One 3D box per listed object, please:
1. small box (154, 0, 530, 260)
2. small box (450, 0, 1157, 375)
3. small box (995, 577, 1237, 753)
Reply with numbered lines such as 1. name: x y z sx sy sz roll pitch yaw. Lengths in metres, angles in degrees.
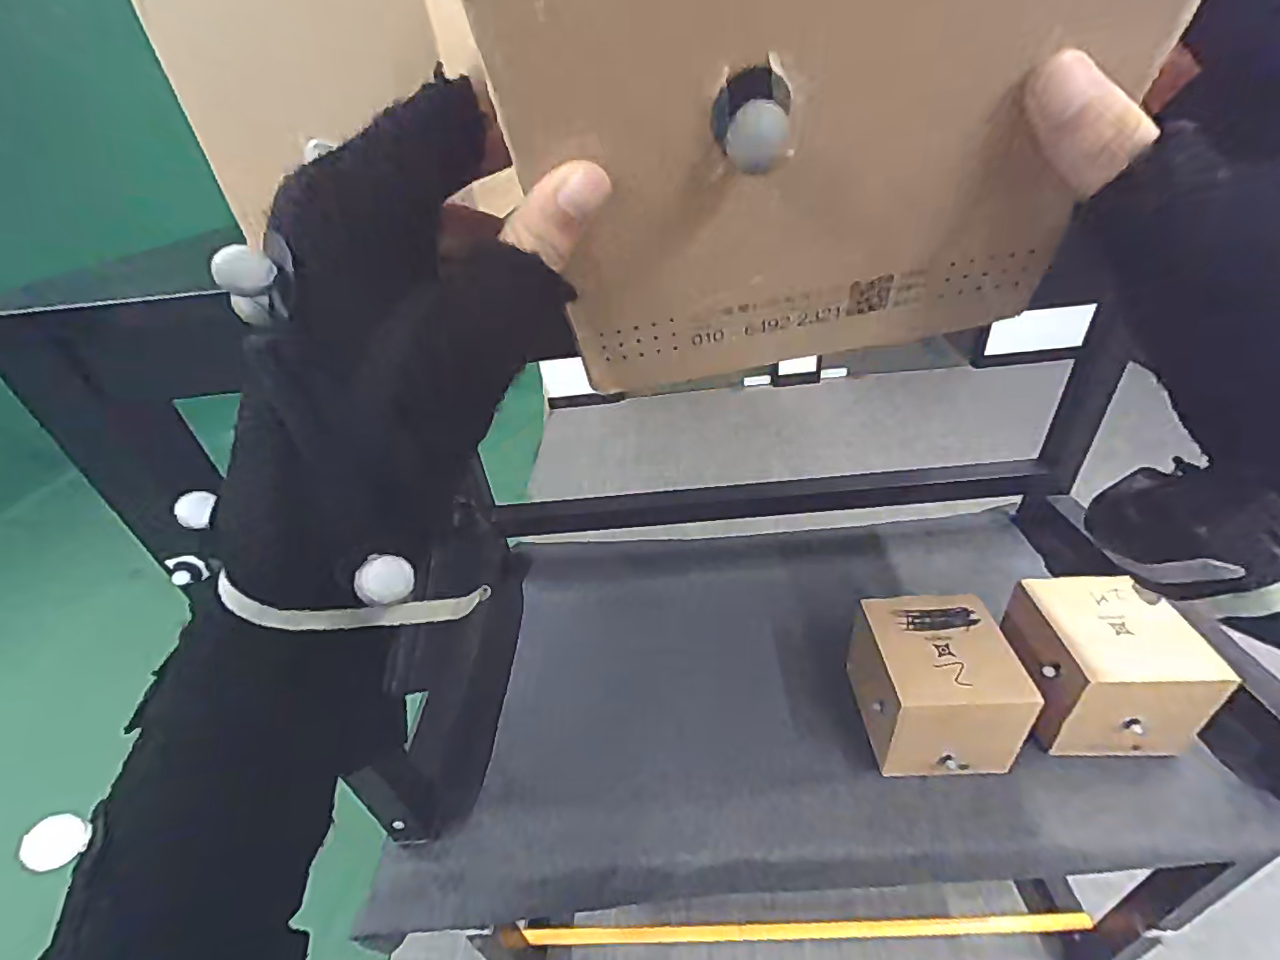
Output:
1. small box: -0.186 -0.269 0.392 0.168 0.176 0.179 -4 35 5
2. small box: 0.042 -0.155 0.190 0.168 0.176 0.179 -10 56 4
3. small box: 0.637 0.259 0.756 0.168 0.176 0.179 -3 34 7
